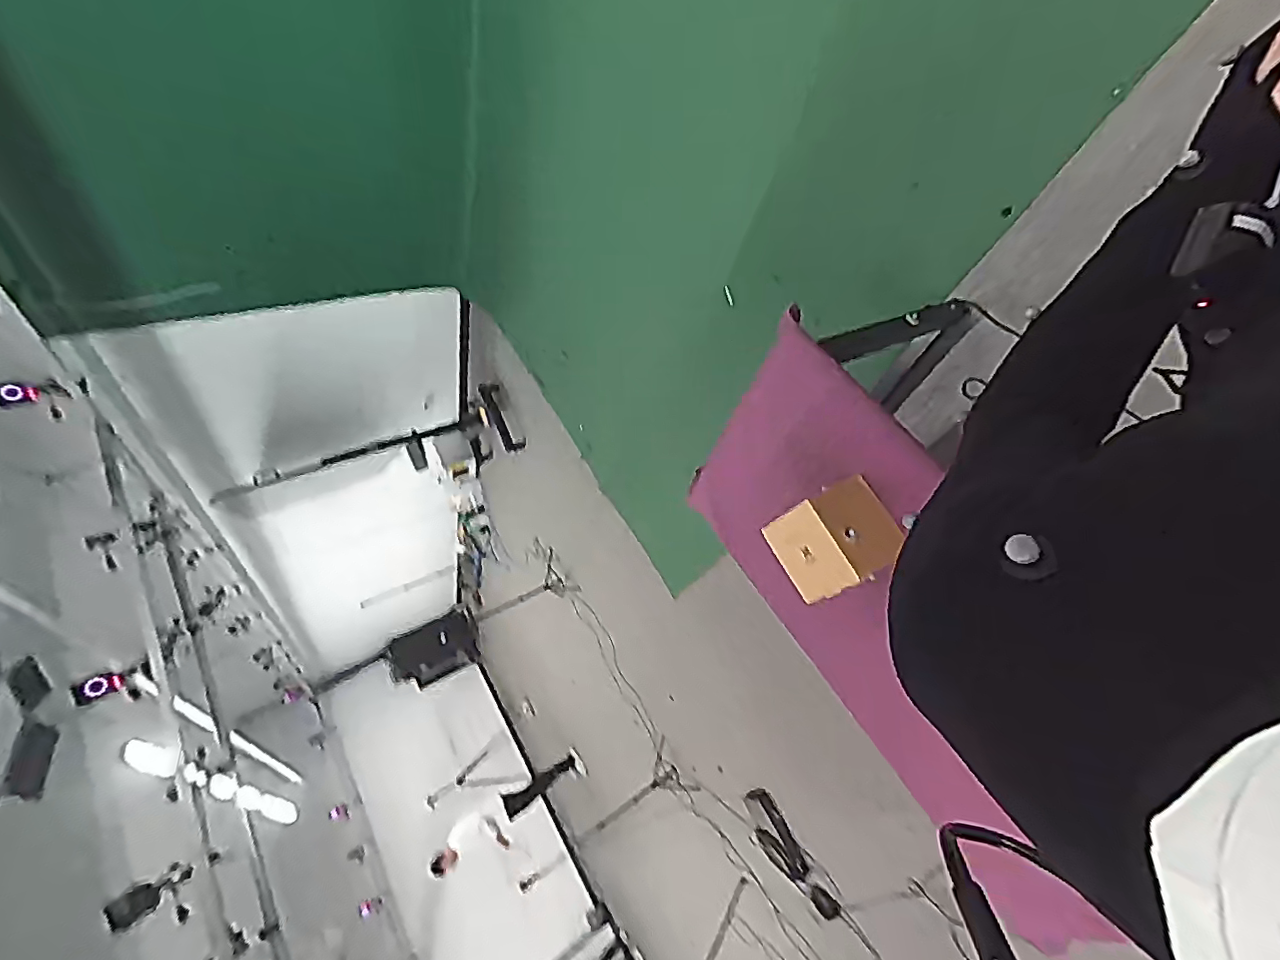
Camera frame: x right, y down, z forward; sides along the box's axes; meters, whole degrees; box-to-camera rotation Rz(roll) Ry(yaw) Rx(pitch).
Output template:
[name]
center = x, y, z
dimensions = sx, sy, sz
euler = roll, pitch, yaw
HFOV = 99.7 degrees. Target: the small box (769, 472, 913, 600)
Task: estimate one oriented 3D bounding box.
[small box]
center = 0.405, 0.112, 1.091
dimensions = 0.179, 0.176, 0.168
euler = 59, 149, 13
